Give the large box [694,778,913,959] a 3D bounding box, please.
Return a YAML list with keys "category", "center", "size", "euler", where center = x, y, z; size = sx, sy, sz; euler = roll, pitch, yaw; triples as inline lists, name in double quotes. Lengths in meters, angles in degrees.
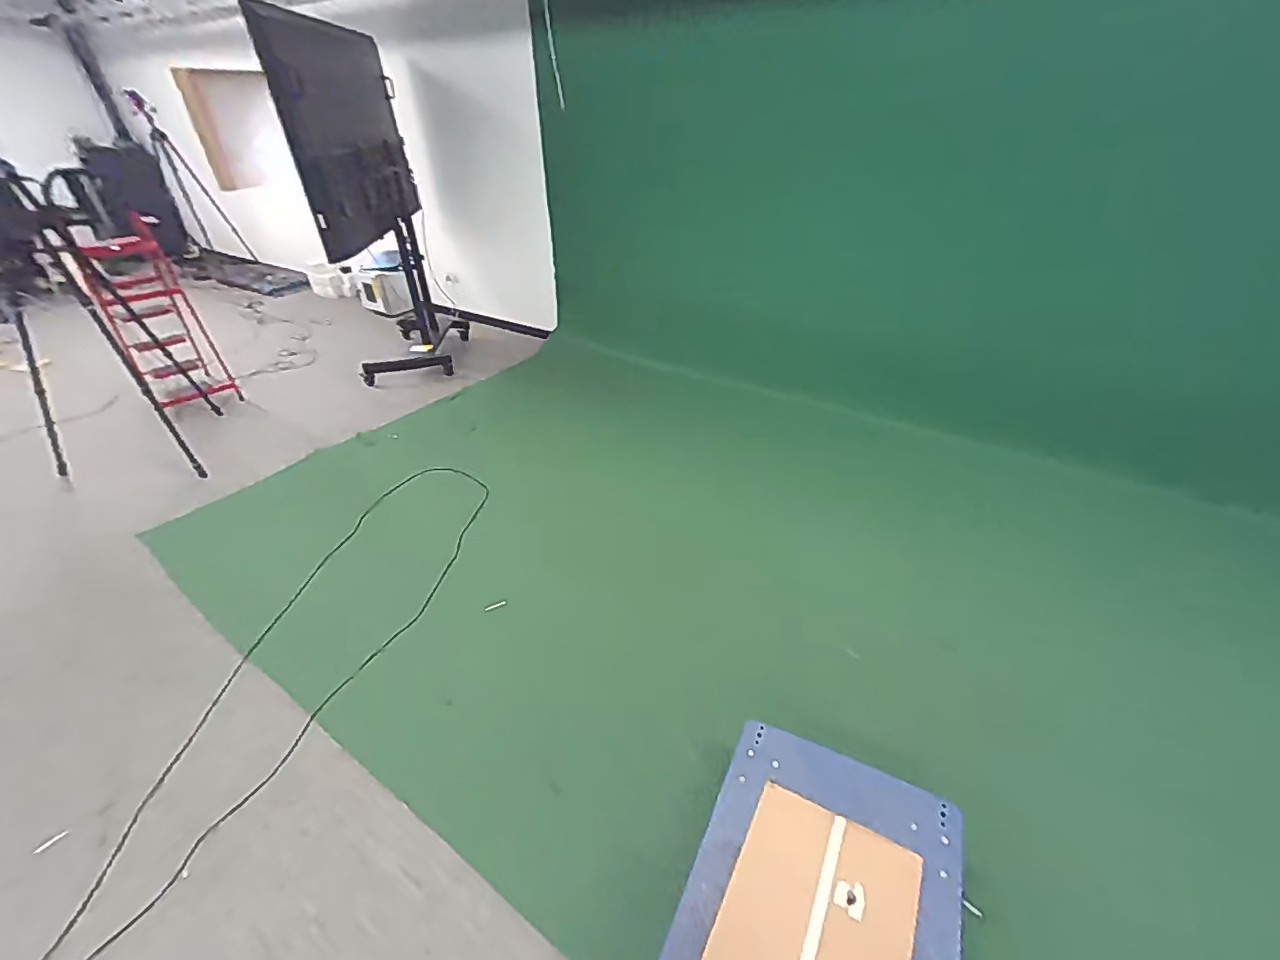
- category: "large box"
  center: [0.307, 0.905, 1.051]
  size: [0.320, 0.320, 0.408]
  euler: [17, 38, 25]
